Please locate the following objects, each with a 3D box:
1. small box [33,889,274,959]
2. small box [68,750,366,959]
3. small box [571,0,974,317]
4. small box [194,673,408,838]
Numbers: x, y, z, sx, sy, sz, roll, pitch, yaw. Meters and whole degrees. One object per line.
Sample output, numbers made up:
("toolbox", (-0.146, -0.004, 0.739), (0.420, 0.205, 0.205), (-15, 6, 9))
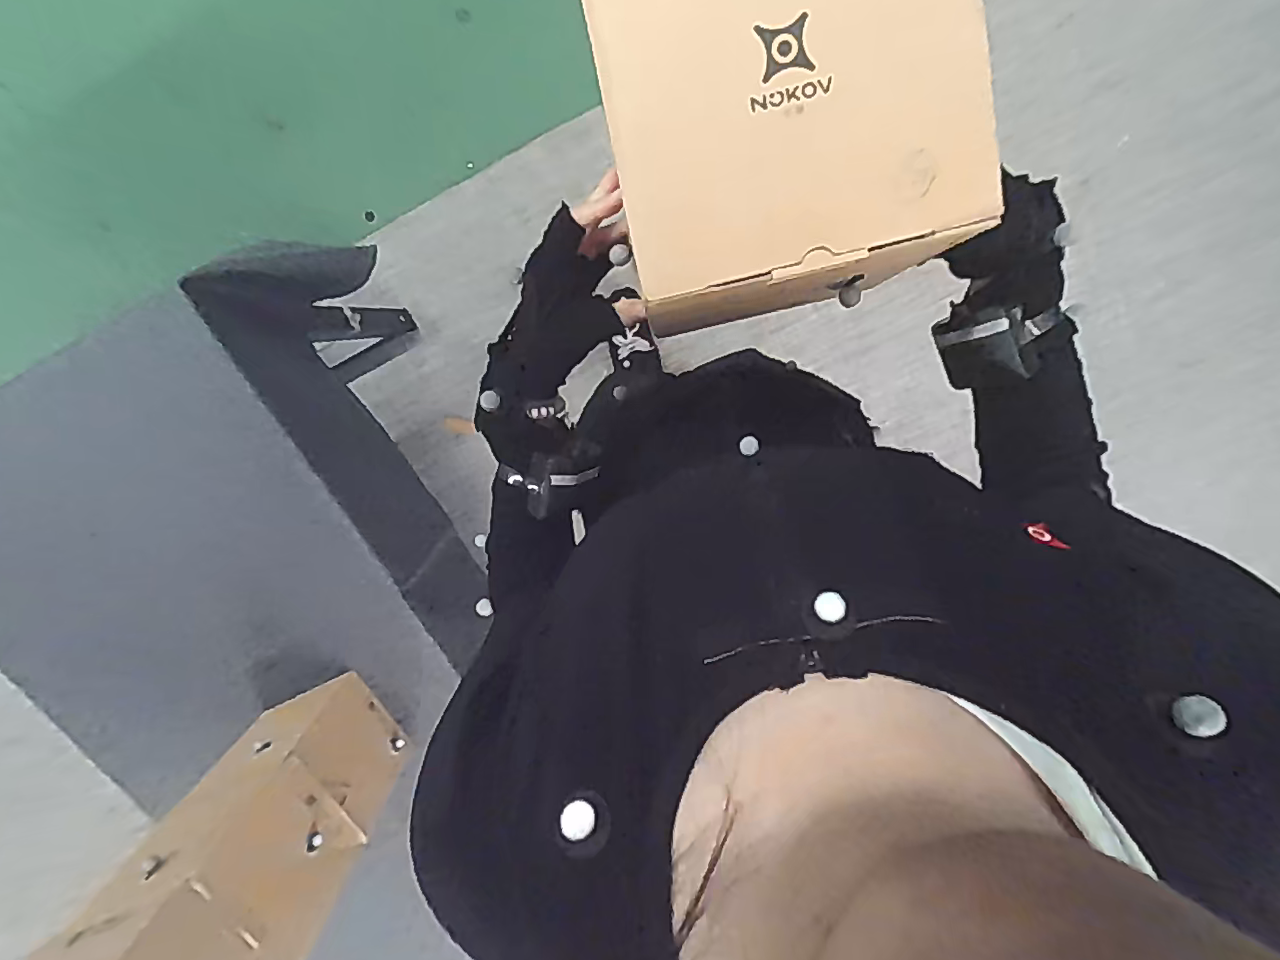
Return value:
("small box", (-0.464, 0.503, 0.472), (0.168, 0.176, 0.179), (-25, 105, 6))
("small box", (-0.467, 0.460, 0.631), (0.179, 0.176, 0.168), (-26, 105, 7))
("small box", (0.063, -0.201, 0.319), (0.168, 0.176, 0.179), (-11, 99, 5))
("small box", (-0.468, 0.416, 0.787), (0.179, 0.176, 0.168), (-26, 105, 8))
